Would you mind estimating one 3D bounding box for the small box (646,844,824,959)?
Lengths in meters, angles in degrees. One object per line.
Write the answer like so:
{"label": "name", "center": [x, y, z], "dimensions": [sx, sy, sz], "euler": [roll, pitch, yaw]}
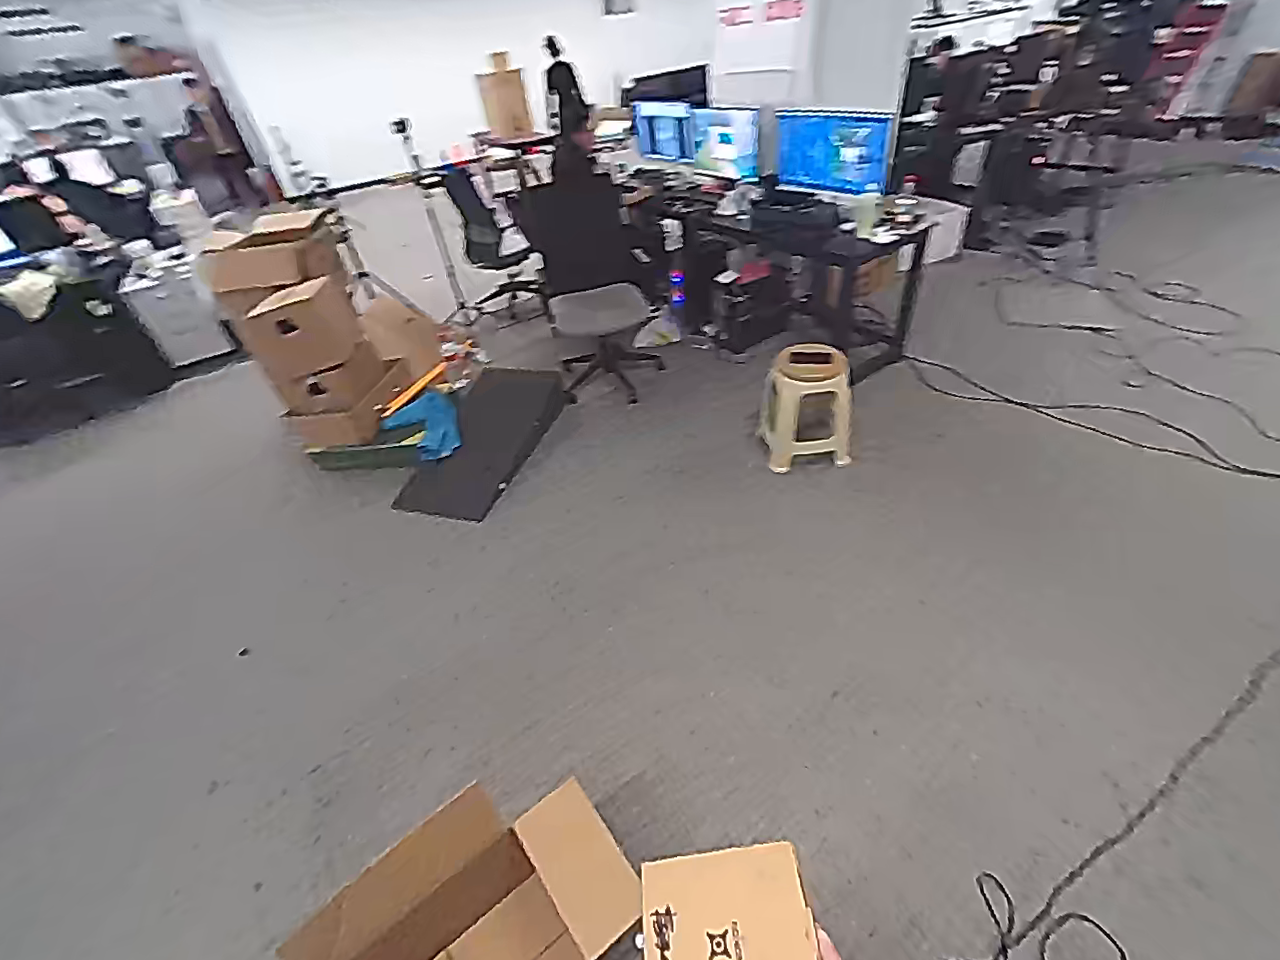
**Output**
{"label": "small box", "center": [0.112, 0.529, 0.590], "dimensions": [0.179, 0.176, 0.168], "euler": [-14, 35, 9]}
